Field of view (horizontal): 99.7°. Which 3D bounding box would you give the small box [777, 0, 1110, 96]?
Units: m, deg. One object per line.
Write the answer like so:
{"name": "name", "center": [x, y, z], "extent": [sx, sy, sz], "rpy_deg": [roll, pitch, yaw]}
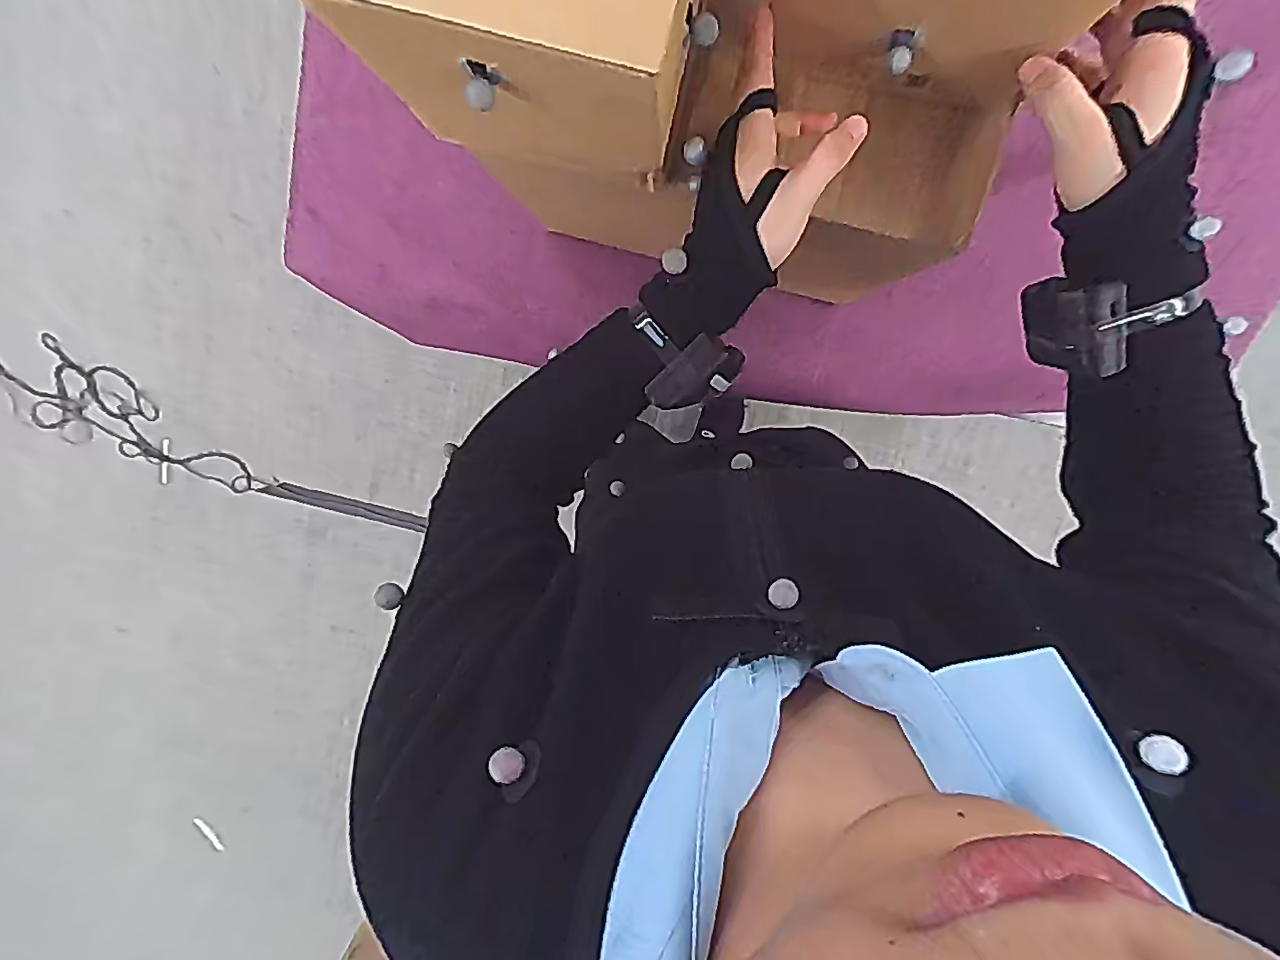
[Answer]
{"name": "small box", "center": [0.176, -0.338, 0.265], "extent": [0.168, 0.176, 0.179], "rpy_deg": [13, 101, 3]}

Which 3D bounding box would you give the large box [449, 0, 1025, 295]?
{"name": "large box", "center": [0.094, -0.388, 0.513], "extent": [0.408, 0.320, 0.320], "rpy_deg": [14, 100, 3]}
